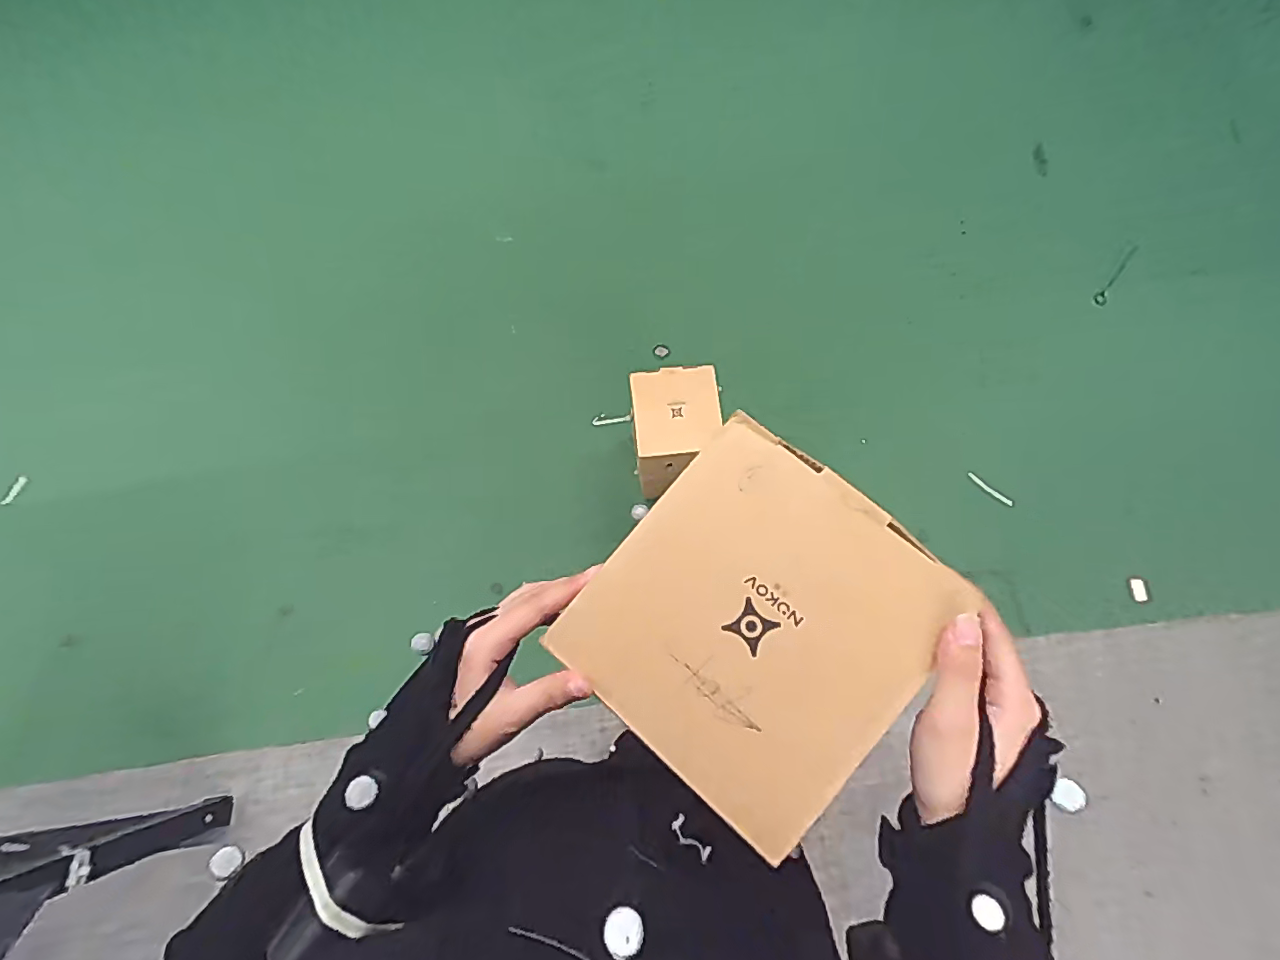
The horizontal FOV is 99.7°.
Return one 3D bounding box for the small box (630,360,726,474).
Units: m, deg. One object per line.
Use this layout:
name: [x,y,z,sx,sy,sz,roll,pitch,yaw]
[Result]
small box: [0.073,-0.118,1.088,0.168,0.176,0.179,-6,74,0]
